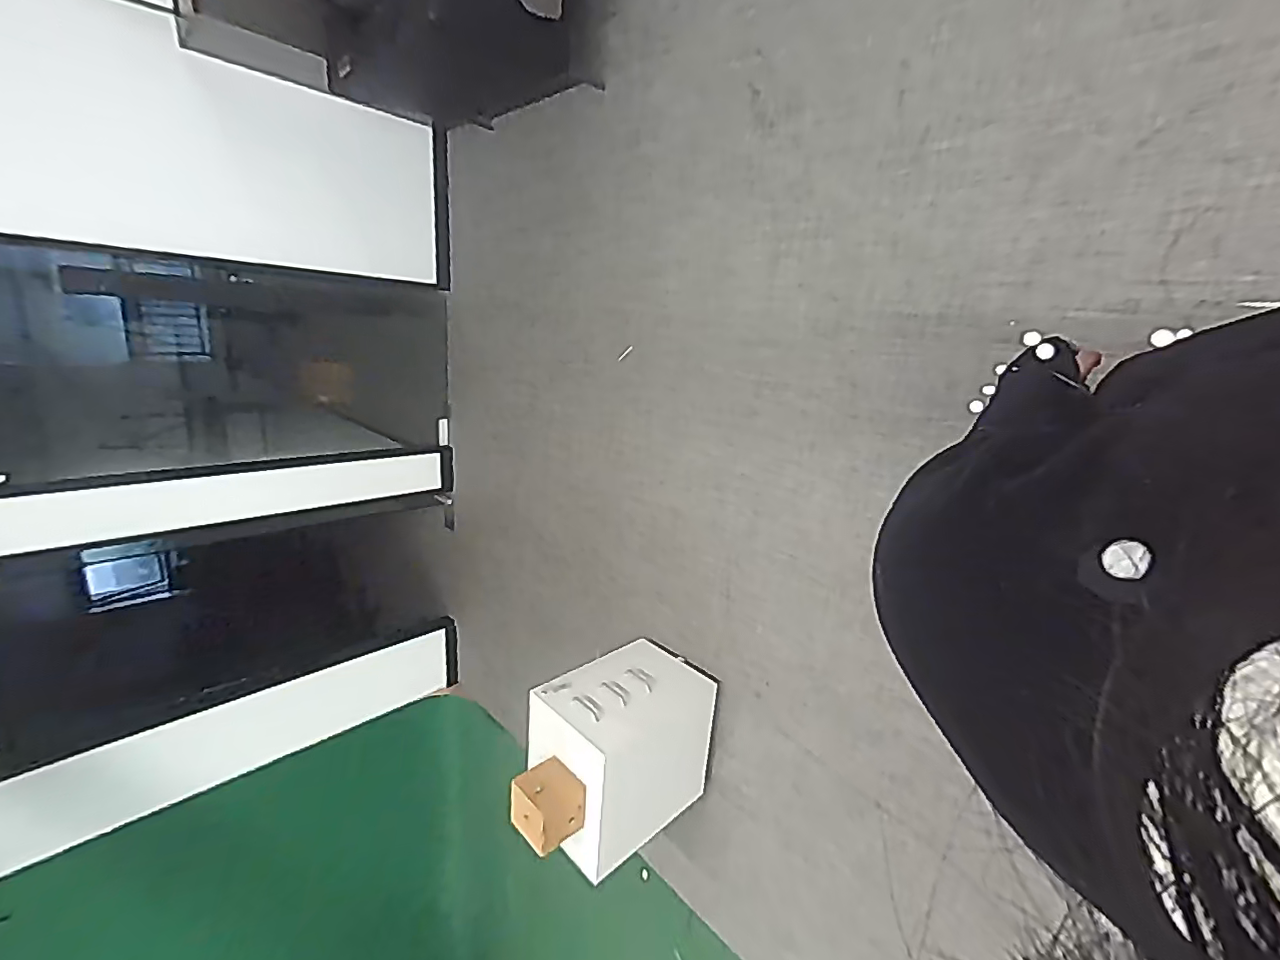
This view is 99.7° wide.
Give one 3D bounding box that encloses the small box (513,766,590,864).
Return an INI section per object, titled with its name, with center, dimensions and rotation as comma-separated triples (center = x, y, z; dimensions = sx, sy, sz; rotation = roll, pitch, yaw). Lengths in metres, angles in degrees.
[small box]
center = -0.280, 1.039, 1.701
dimensions = 0.179, 0.176, 0.168
rotation = 18, 110, 43
